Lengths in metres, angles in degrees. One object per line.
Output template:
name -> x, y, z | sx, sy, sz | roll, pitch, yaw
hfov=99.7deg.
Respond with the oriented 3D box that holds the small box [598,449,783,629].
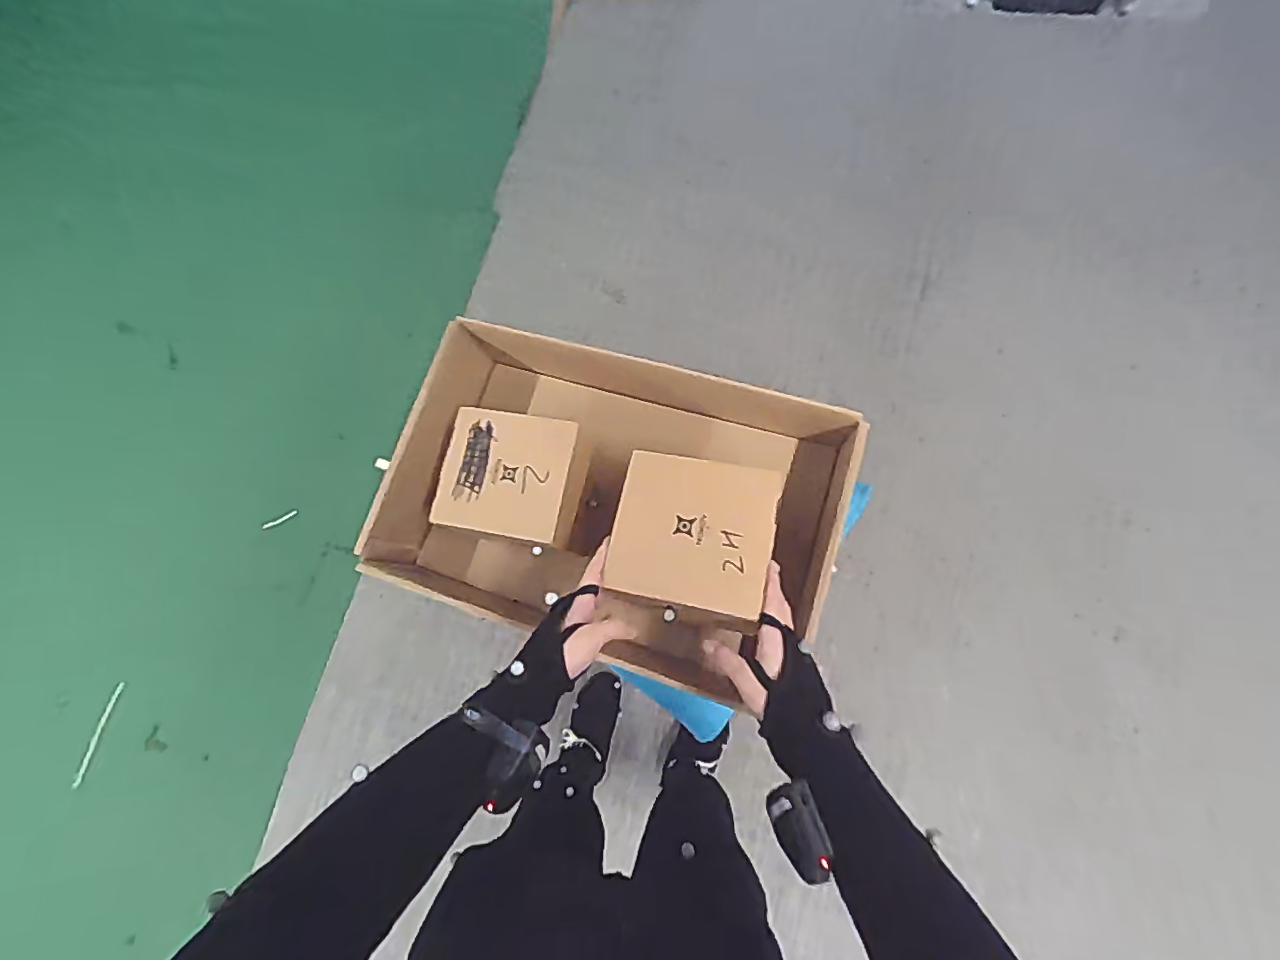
small box -> 0.067, 0.079, 0.659 | 0.179, 0.176, 0.168 | 10, 72, 12
